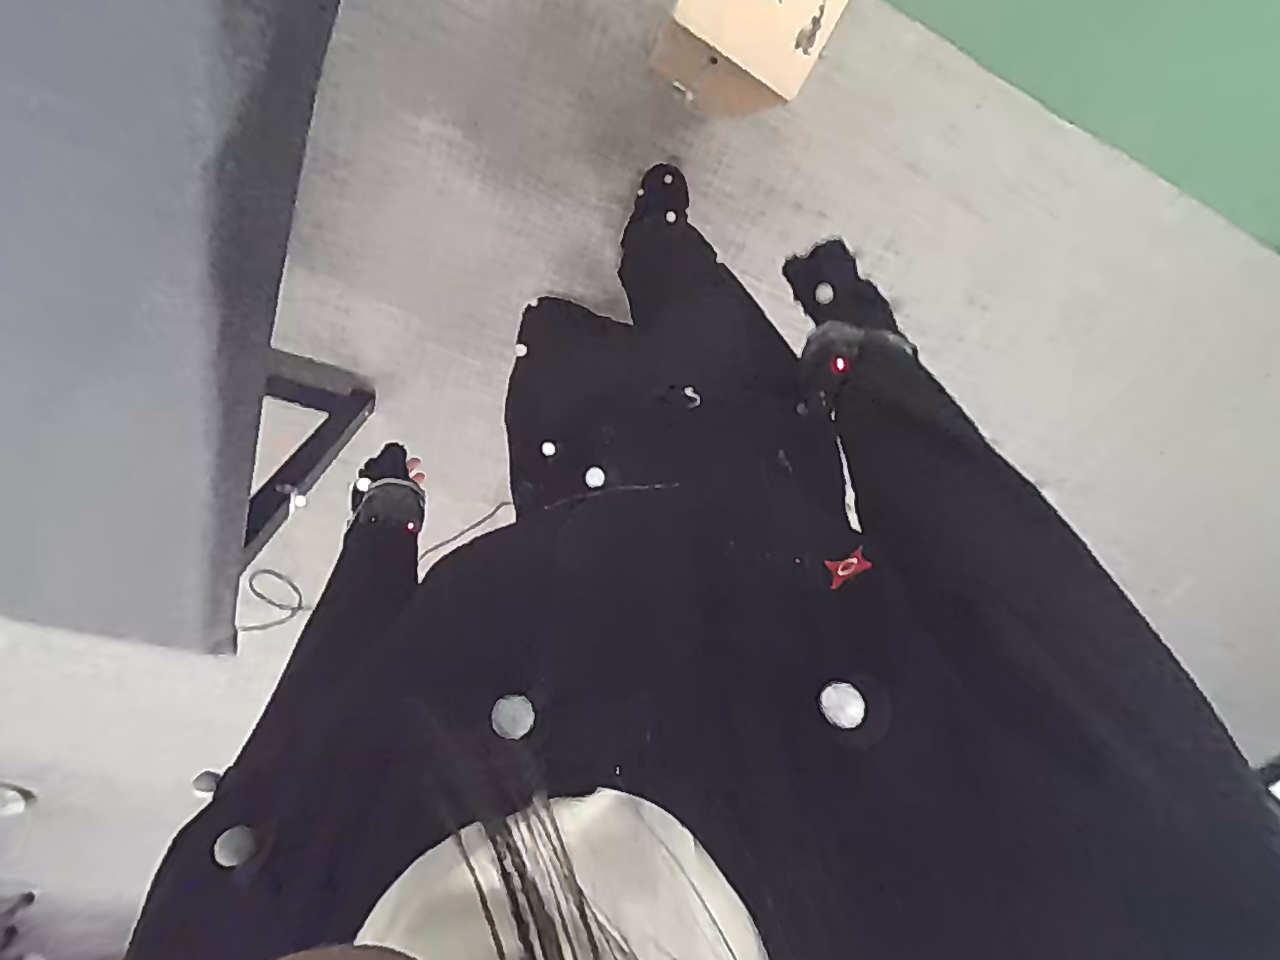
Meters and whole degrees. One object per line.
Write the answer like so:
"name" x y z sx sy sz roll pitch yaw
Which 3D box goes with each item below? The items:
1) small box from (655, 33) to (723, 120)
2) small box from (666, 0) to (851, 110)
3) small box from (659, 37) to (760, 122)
"small box" 0.136 -0.771 0.952 0.168 0.176 0.179 26 117 -17
"small box" 0.145 -0.595 0.675 0.179 0.176 0.168 24 117 -16
"small box" 0.140 -0.677 0.815 0.168 0.176 0.179 26 117 -17
